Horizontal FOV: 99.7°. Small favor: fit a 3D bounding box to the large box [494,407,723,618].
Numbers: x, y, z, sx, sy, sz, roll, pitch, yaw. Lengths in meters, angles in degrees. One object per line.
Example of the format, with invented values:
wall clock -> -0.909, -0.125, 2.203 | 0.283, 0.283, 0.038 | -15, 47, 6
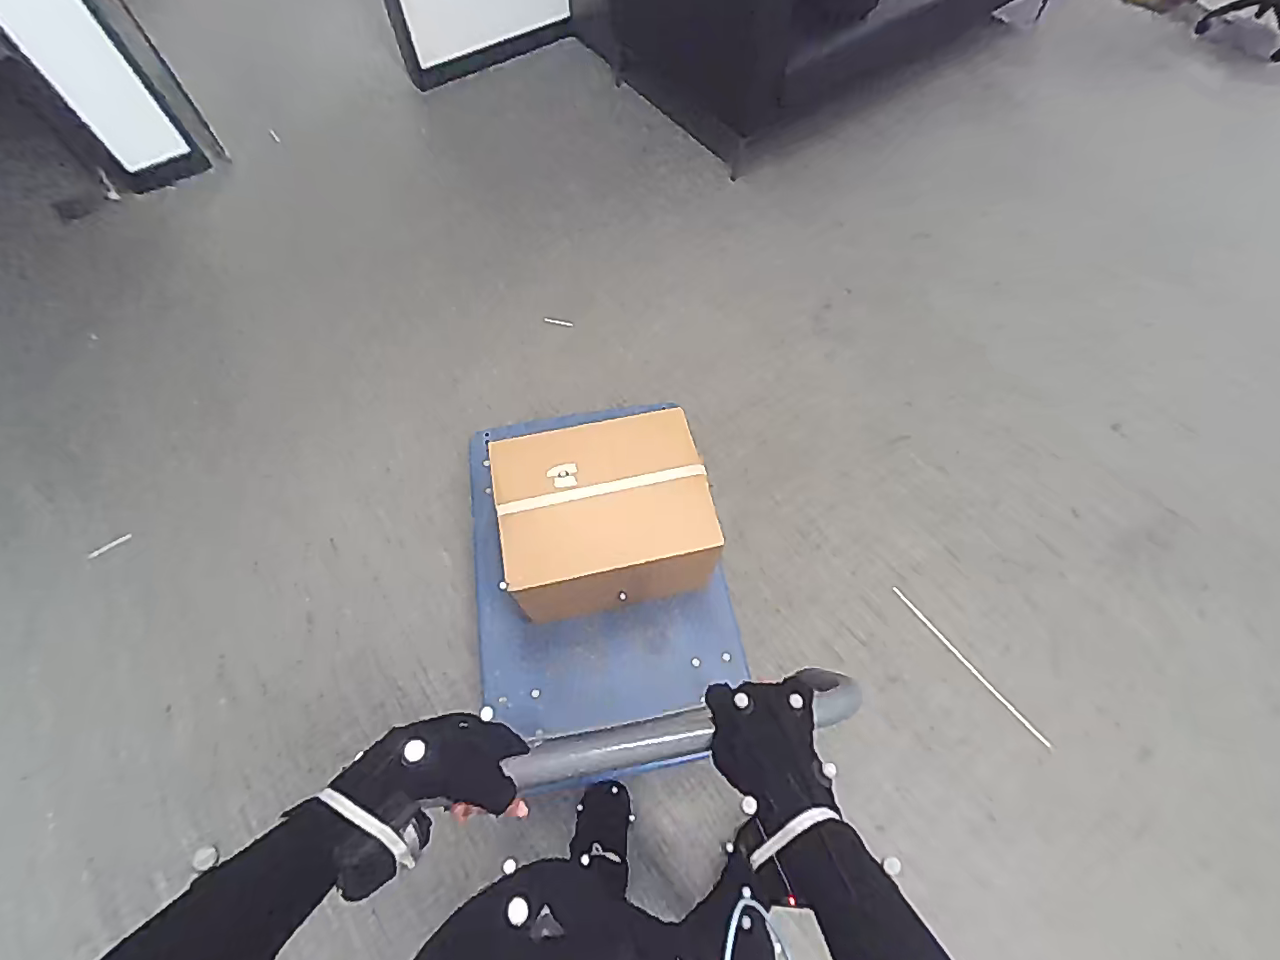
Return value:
large box -> -0.069, 0.084, 1.187 | 0.408, 0.320, 0.320 | -12, 65, -6
